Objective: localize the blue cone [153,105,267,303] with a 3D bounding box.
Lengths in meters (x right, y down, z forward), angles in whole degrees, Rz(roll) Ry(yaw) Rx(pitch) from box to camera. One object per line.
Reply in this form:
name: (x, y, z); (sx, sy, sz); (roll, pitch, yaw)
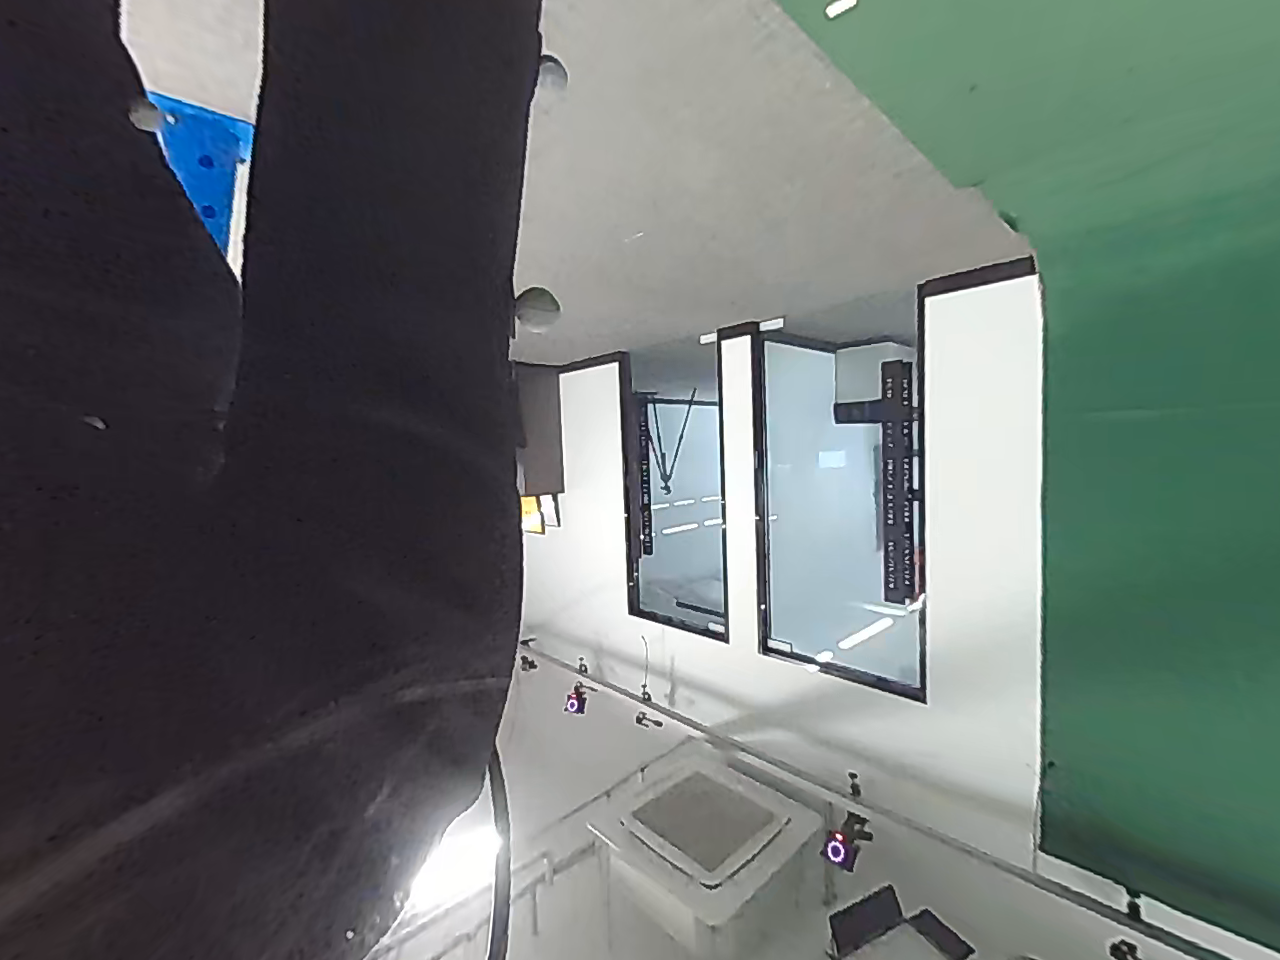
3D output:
blue cone: (-0.938, -0.591, 1.200); (0.192, 0.380, 0.193); (-6, -175, -44)
